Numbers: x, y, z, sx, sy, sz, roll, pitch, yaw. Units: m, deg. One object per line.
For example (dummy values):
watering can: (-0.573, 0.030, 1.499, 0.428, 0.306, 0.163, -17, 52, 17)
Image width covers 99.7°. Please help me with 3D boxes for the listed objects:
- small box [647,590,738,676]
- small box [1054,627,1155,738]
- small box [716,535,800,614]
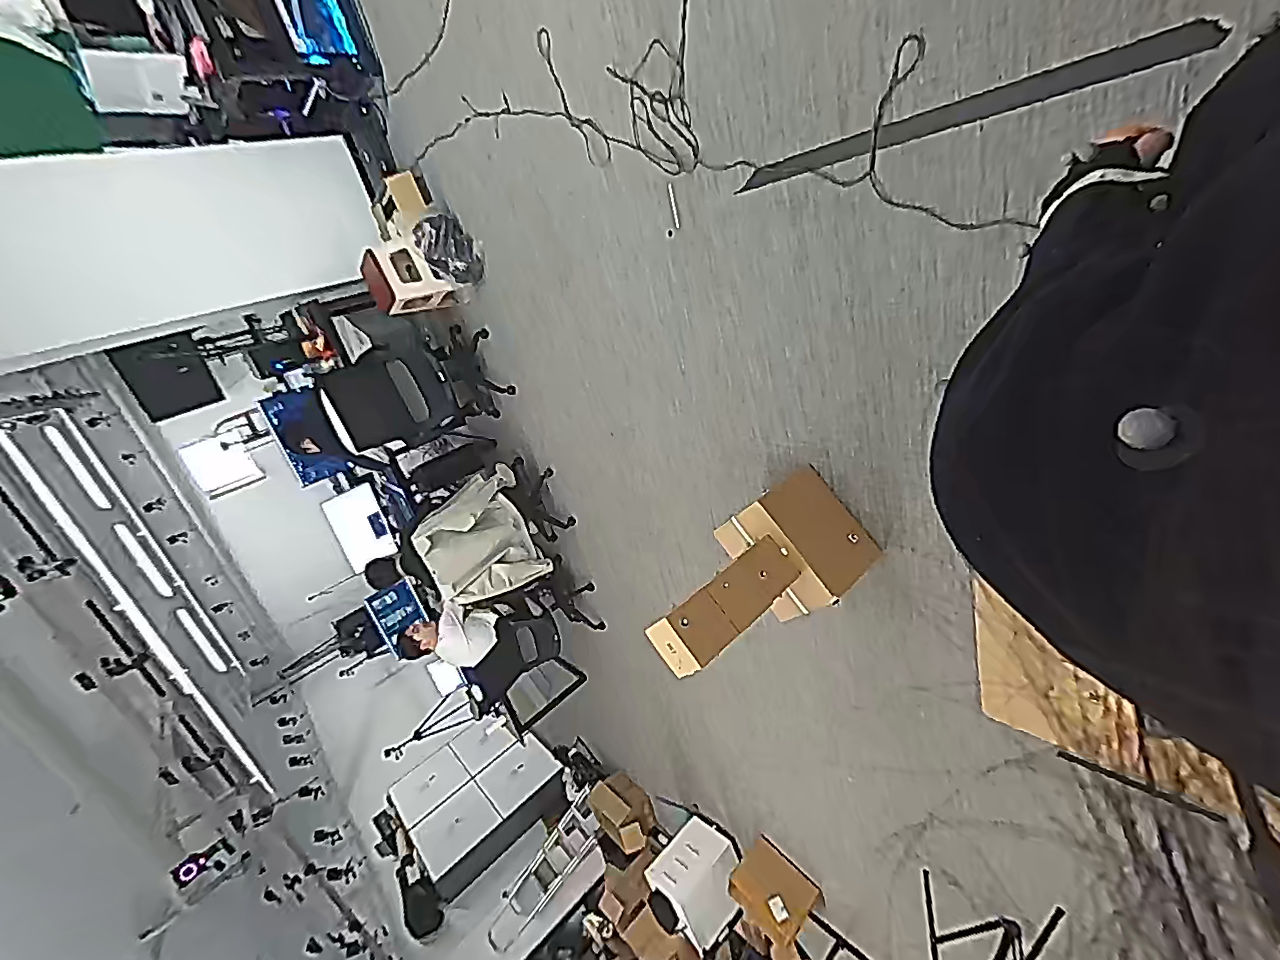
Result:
small box: (0.156, 0.450, 1.611, 0.179, 0.176, 0.168, 53, 147, 11)
small box: (1.209, 0.517, 1.408, 0.168, 0.176, 0.179, 15, 127, 44)
small box: (0.394, 0.311, 1.792, 0.179, 0.176, 0.168, 53, 146, 12)
